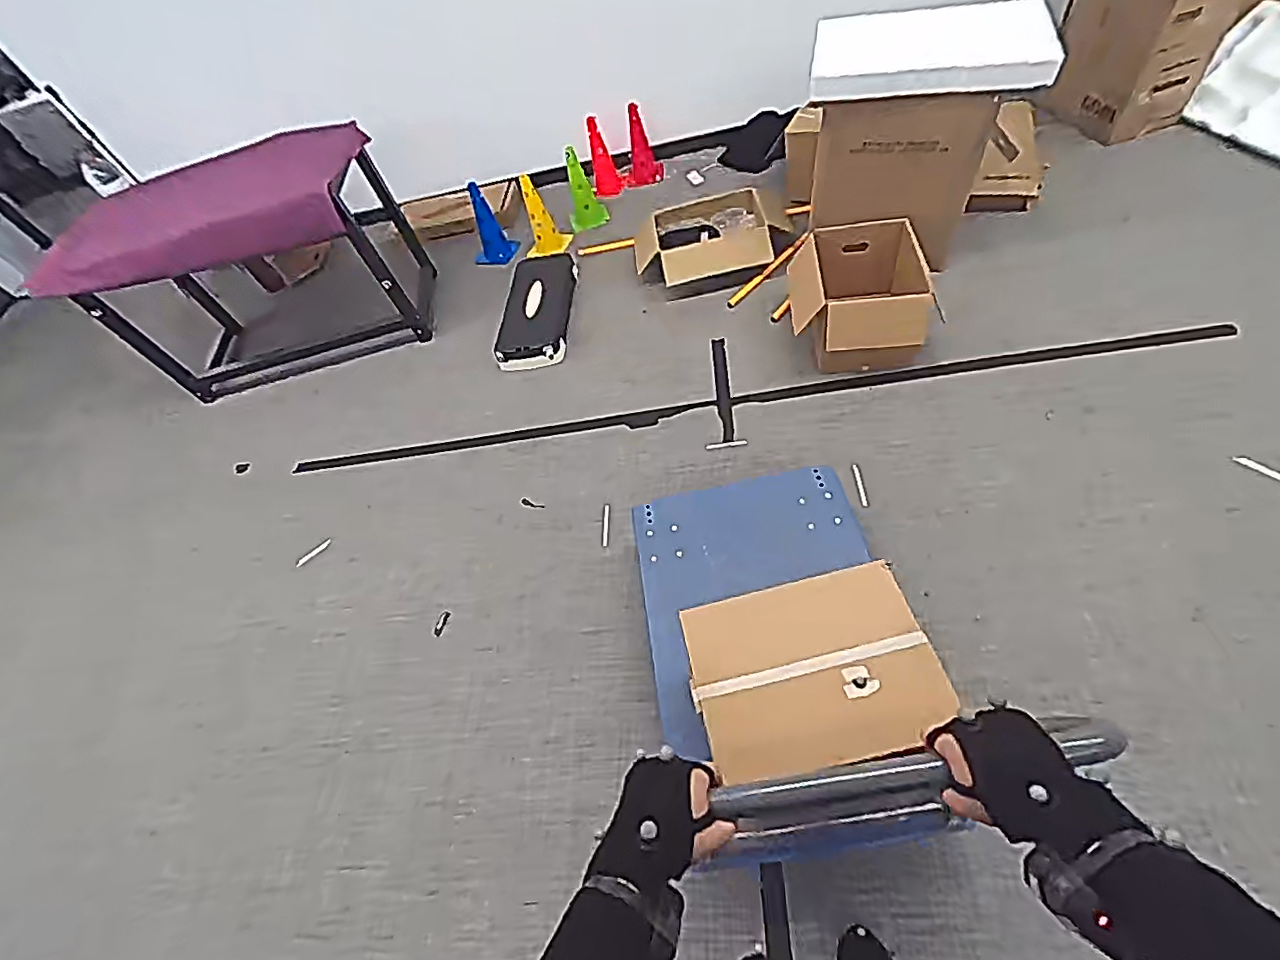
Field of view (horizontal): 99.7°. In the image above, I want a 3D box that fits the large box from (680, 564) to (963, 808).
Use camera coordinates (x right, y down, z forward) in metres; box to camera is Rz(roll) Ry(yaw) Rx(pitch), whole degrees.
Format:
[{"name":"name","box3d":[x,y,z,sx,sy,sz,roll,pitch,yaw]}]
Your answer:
[{"name":"large box","box3d":[0.322,0.416,1.069,0.408,0.320,0.320,-15,54,2]}]
